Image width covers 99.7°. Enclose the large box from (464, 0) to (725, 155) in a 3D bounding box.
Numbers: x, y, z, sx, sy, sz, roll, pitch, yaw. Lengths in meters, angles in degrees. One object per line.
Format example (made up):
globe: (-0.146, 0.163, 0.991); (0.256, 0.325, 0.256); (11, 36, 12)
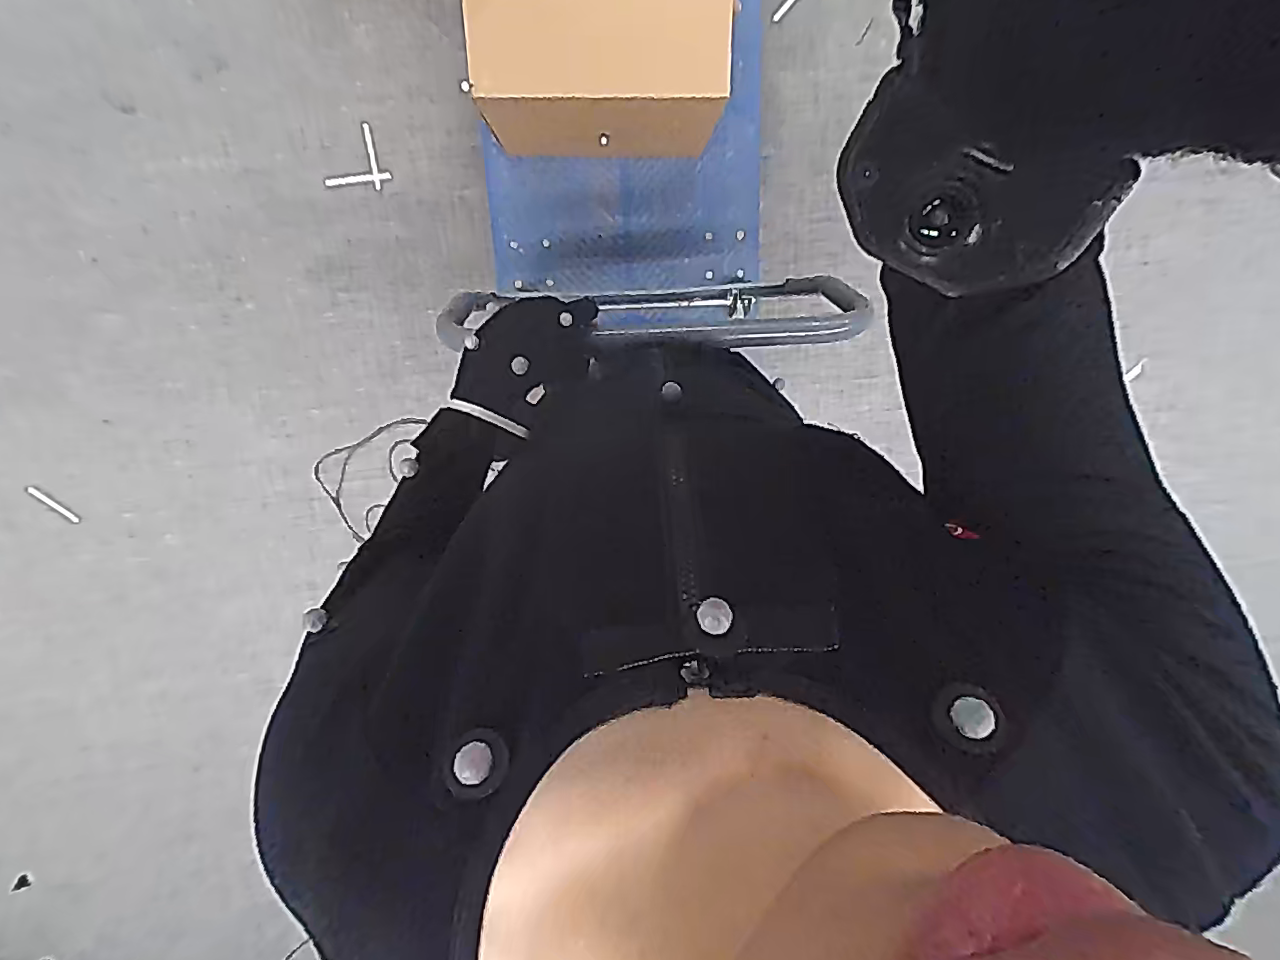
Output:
large box: (-0.072, -0.789, 0.953); (0.408, 0.320, 0.320); (-2, 106, -2)
